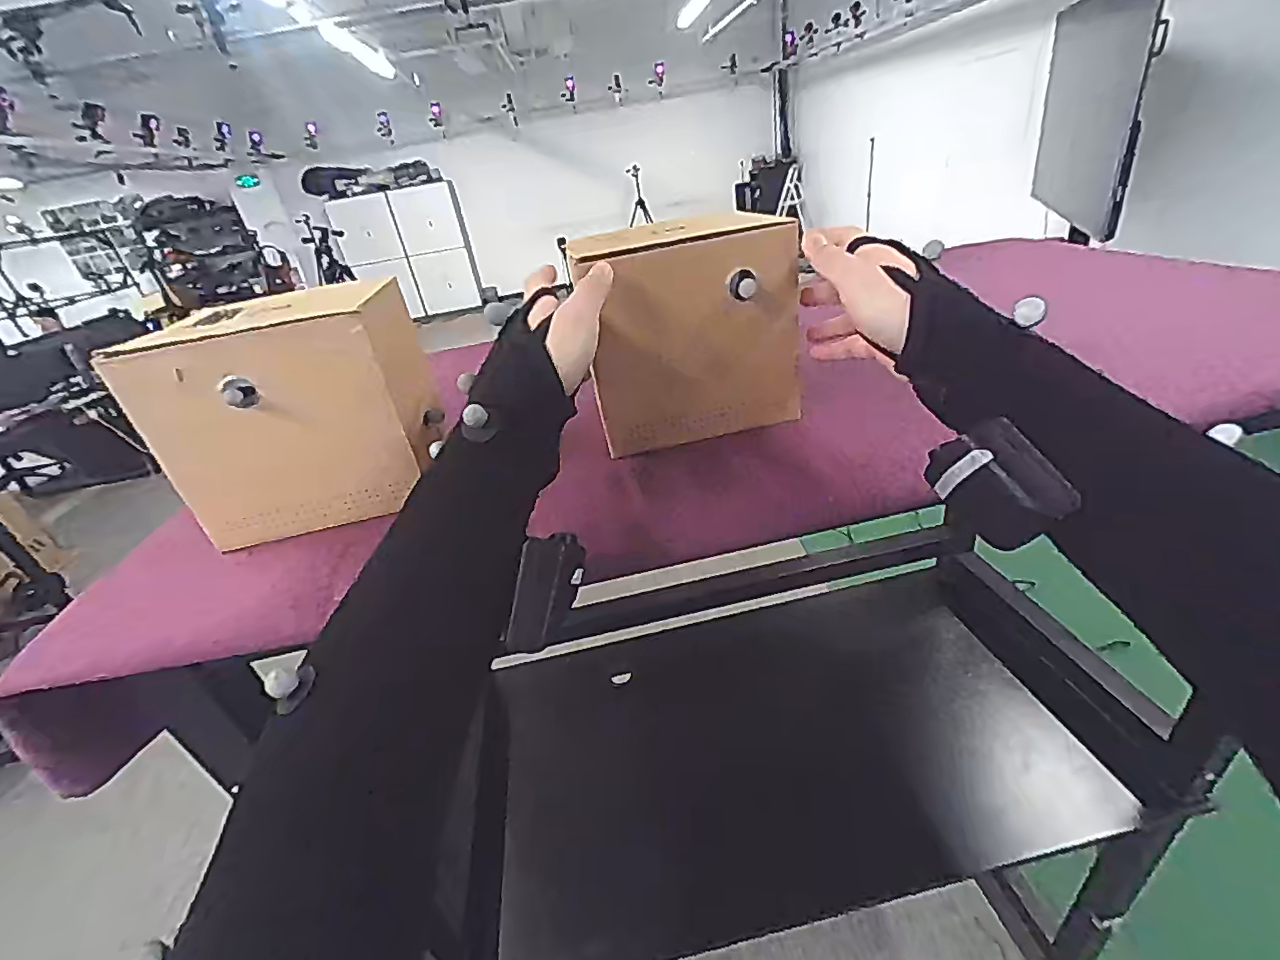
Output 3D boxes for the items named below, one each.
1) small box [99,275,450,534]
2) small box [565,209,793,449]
[{"bbox_3d":[-0.290,-0.072,0.482,0.179,0.176,0.168,-13,30,-7],"label":"small box"},{"bbox_3d":[0.032,-0.147,0.513,0.179,0.176,0.168,-12,29,-3],"label":"small box"}]
